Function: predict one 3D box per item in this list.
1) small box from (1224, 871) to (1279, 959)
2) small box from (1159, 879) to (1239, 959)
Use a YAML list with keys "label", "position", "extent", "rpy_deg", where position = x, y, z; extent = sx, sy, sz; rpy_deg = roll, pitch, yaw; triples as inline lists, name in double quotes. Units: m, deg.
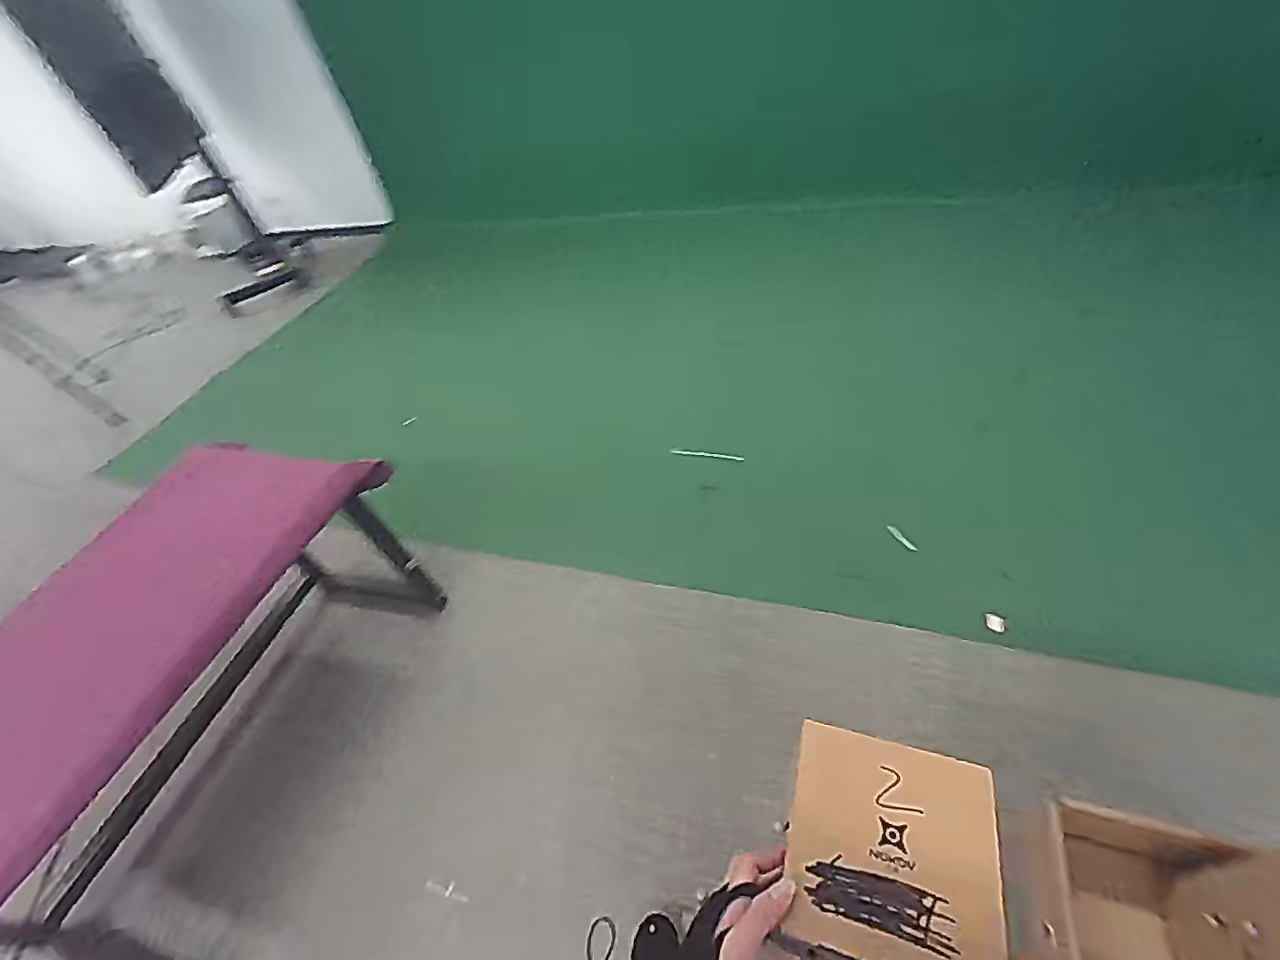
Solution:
- label: "small box"
  position: [0.848, 0.571, 0.619]
  extent: [0.179, 0.176, 0.168]
  rpy_deg: [11, 49, 22]
- label: "small box"
  position: [0.875, 0.681, 0.737]
  extent: [0.179, 0.176, 0.168]
  rpy_deg: [9, 50, 20]
